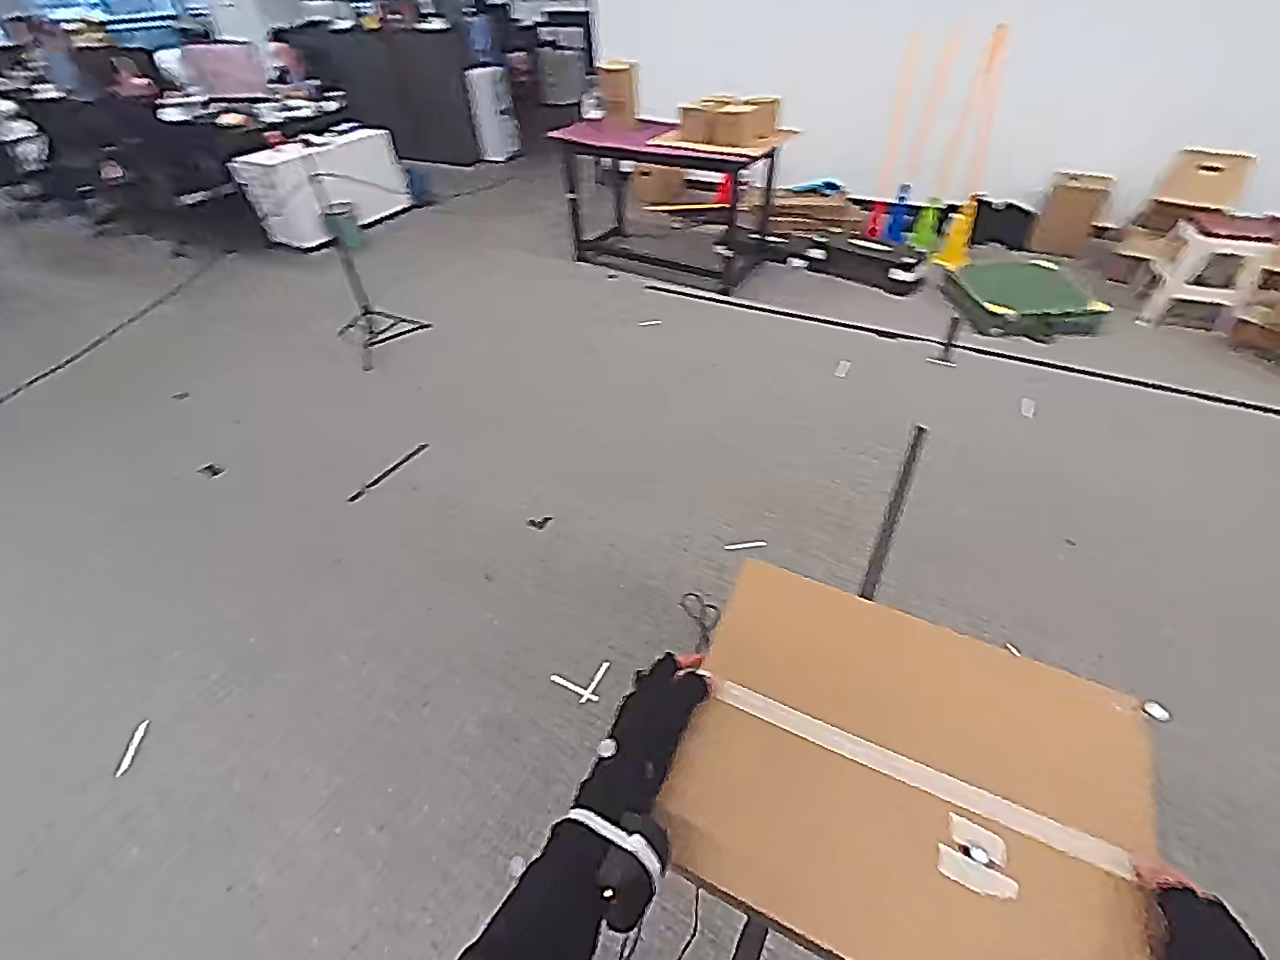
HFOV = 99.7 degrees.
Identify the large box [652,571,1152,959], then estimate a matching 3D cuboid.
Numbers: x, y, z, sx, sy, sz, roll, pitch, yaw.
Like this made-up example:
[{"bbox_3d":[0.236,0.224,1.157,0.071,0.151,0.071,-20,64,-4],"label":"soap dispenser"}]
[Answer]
[{"bbox_3d":[0.256,0.367,0.634,0.408,0.320,0.320,19,58,17],"label":"large box"}]
